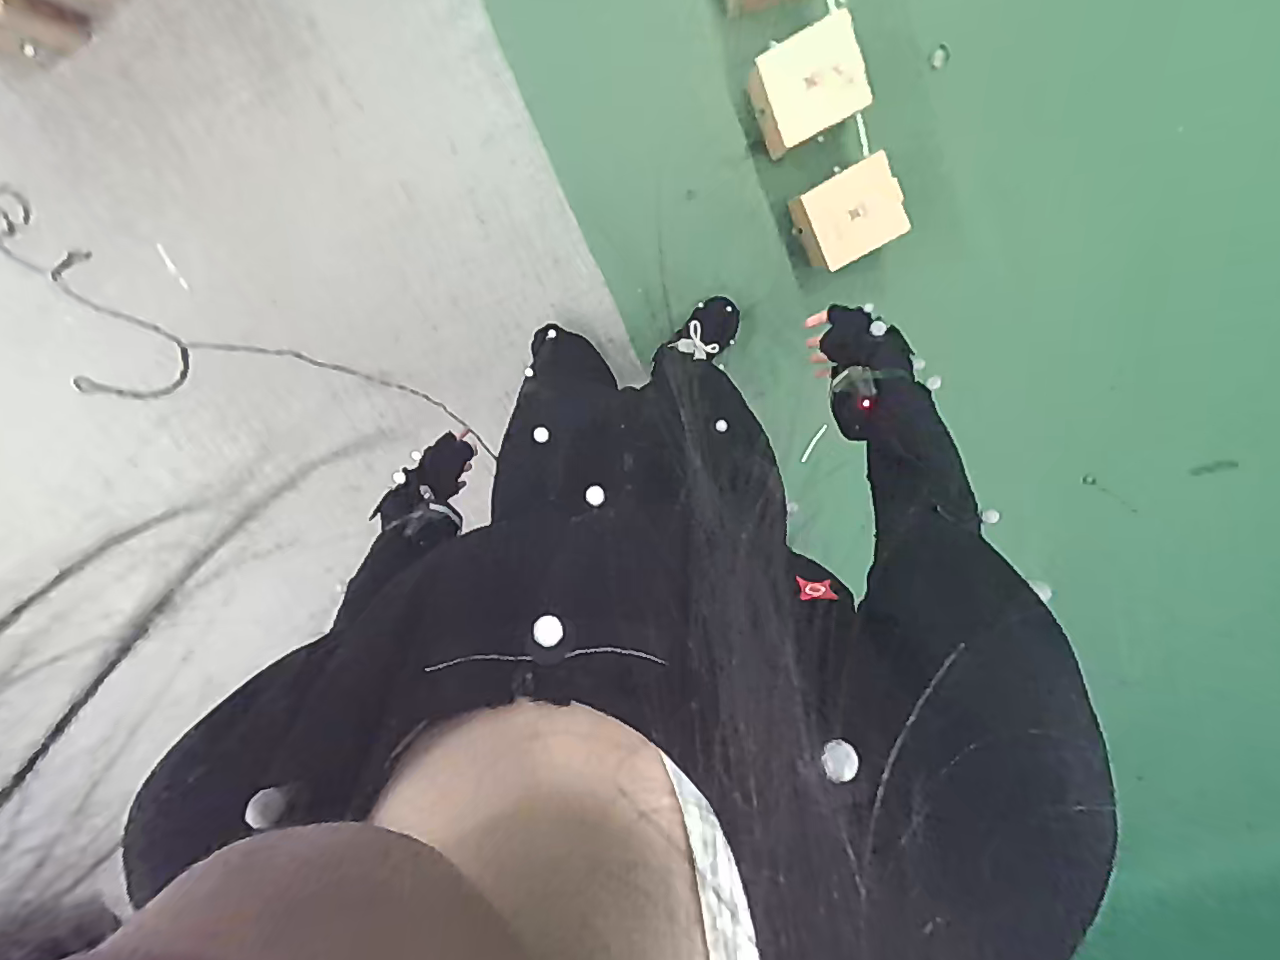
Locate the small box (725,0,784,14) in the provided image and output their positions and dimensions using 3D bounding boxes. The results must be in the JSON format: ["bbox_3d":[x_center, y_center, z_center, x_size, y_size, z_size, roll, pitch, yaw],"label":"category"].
[{"bbox_3d":[0.242,-1.006,0.990,0.179,0.176,0.168,-10,111,8],"label":"small box"}]

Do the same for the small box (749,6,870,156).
[{"bbox_3d":[0.327,-0.778,1.081,0.179,0.176,0.168,-22,111,11],"label":"small box"}]

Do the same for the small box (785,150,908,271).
[{"bbox_3d":[0.436,-0.572,1.165,0.179,0.176,0.168,-26,109,13],"label":"small box"}]
